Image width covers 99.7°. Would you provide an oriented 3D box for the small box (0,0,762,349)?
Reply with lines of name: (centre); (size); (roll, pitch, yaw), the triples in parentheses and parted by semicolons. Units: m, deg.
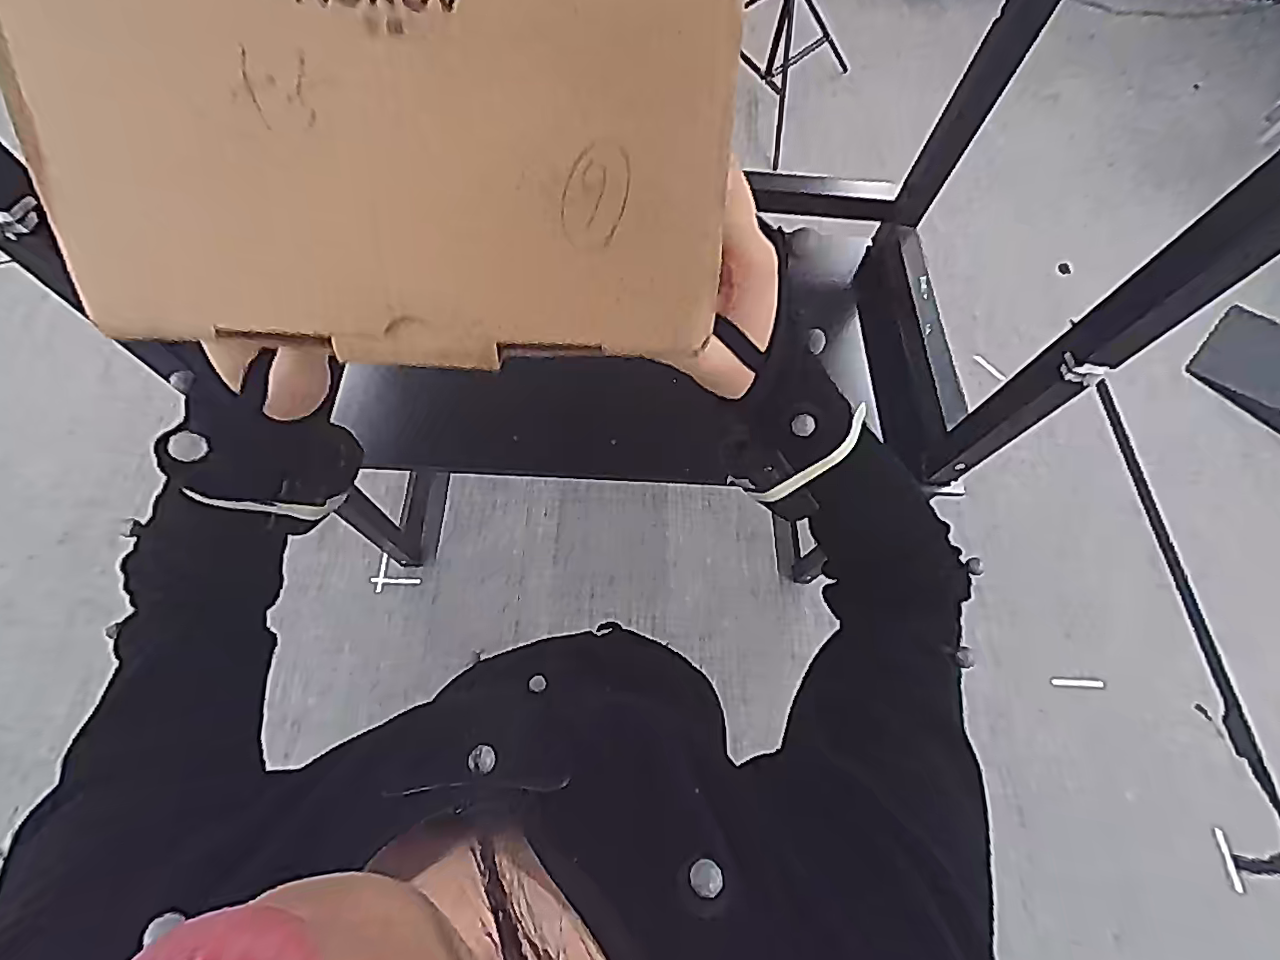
small box: (-0.059, -0.150, 0.181); (0.168, 0.179, 0.176); (1, 23, -6)
